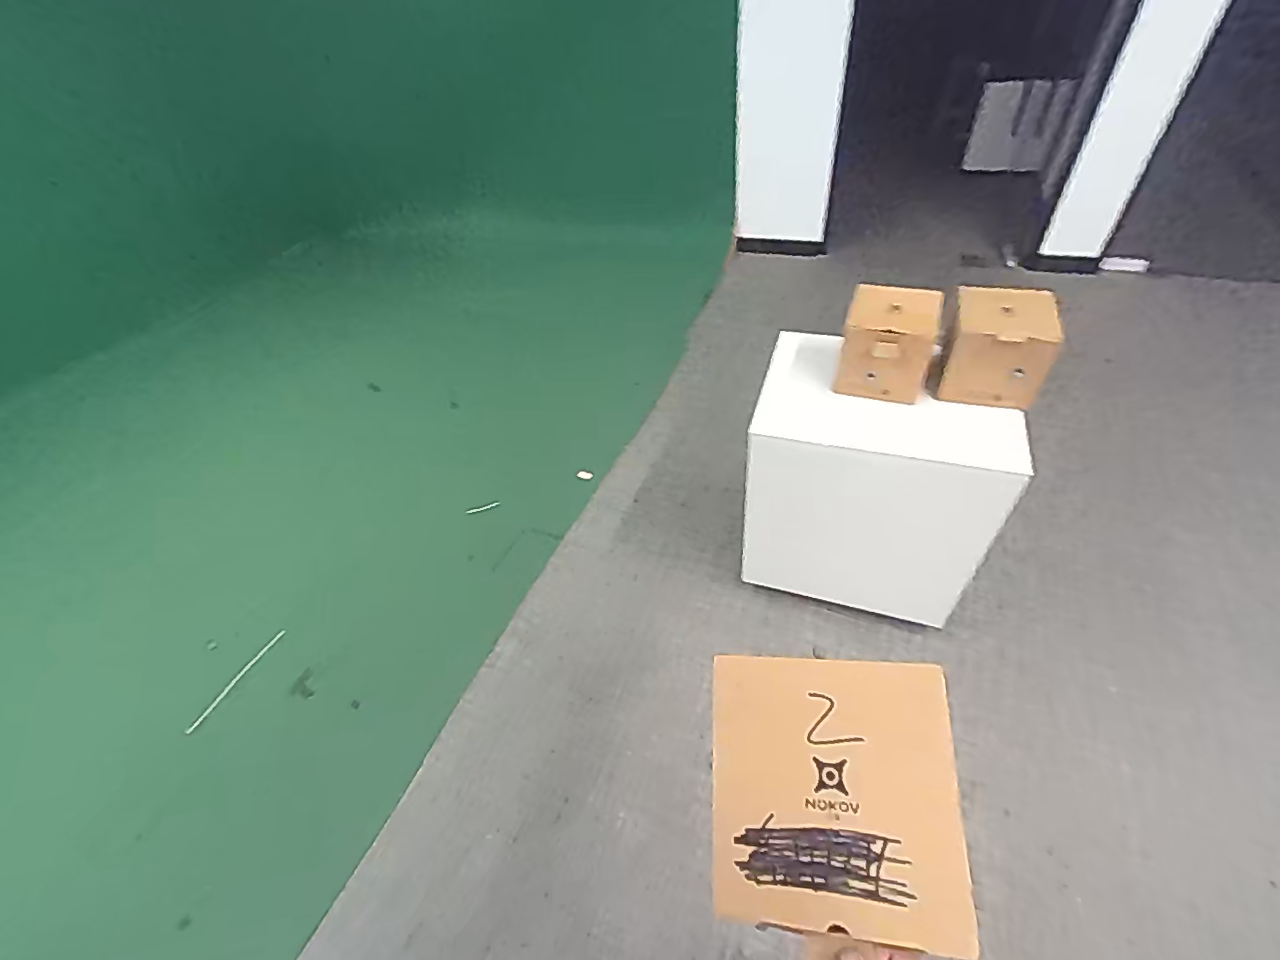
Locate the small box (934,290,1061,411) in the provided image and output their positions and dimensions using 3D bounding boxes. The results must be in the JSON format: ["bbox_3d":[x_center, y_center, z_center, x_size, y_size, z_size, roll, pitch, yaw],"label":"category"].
[{"bbox_3d":[0.706,-0.260,1.089,0.168,0.176,0.179,11,48,18],"label":"small box"}]
